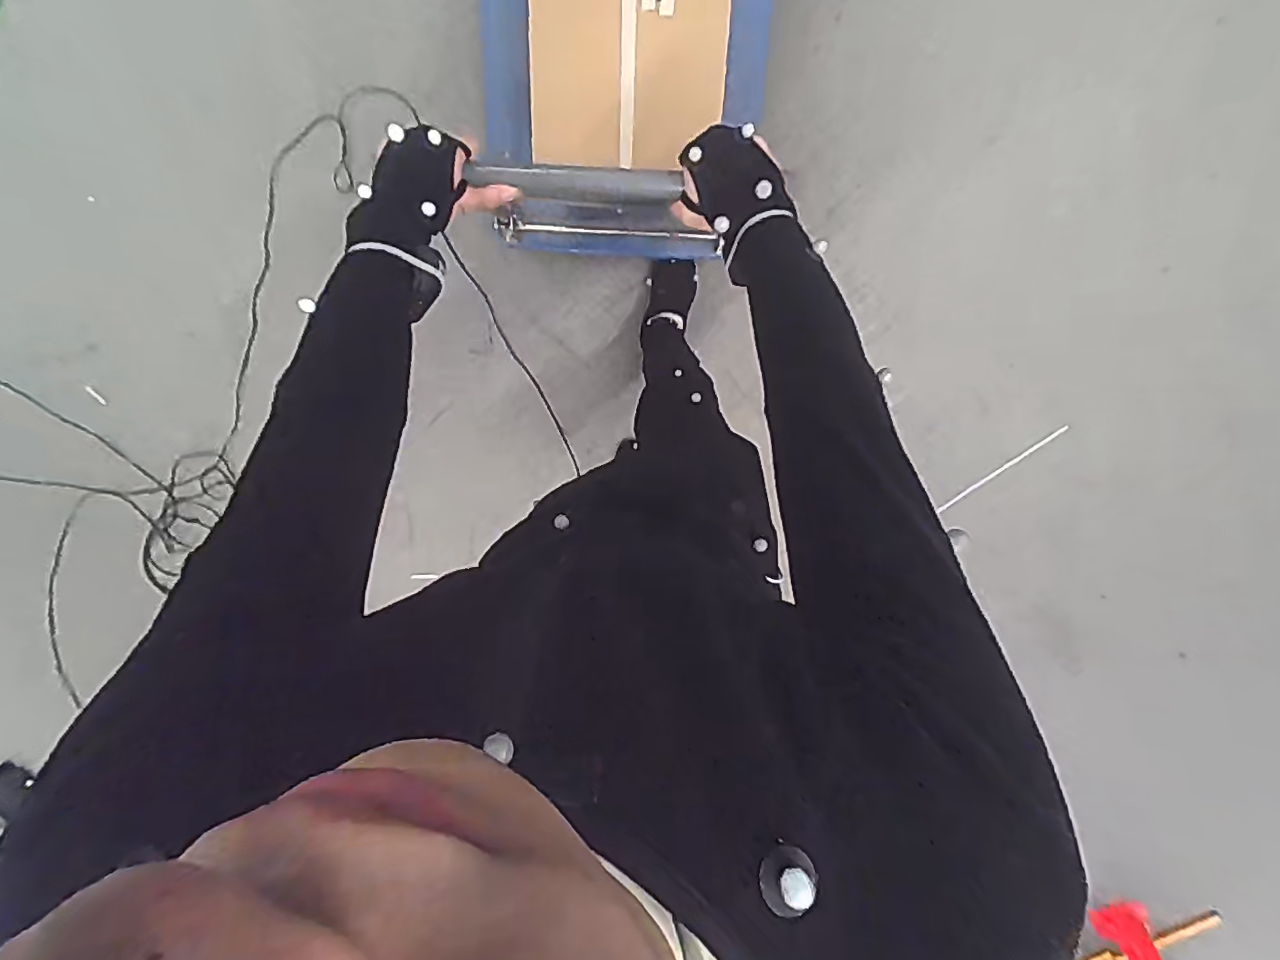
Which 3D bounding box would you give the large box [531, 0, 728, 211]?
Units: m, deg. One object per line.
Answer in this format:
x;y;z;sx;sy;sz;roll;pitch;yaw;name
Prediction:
-0.013;-0.741;1.007;0.320;0.320;0.408;3;111;1;large box
